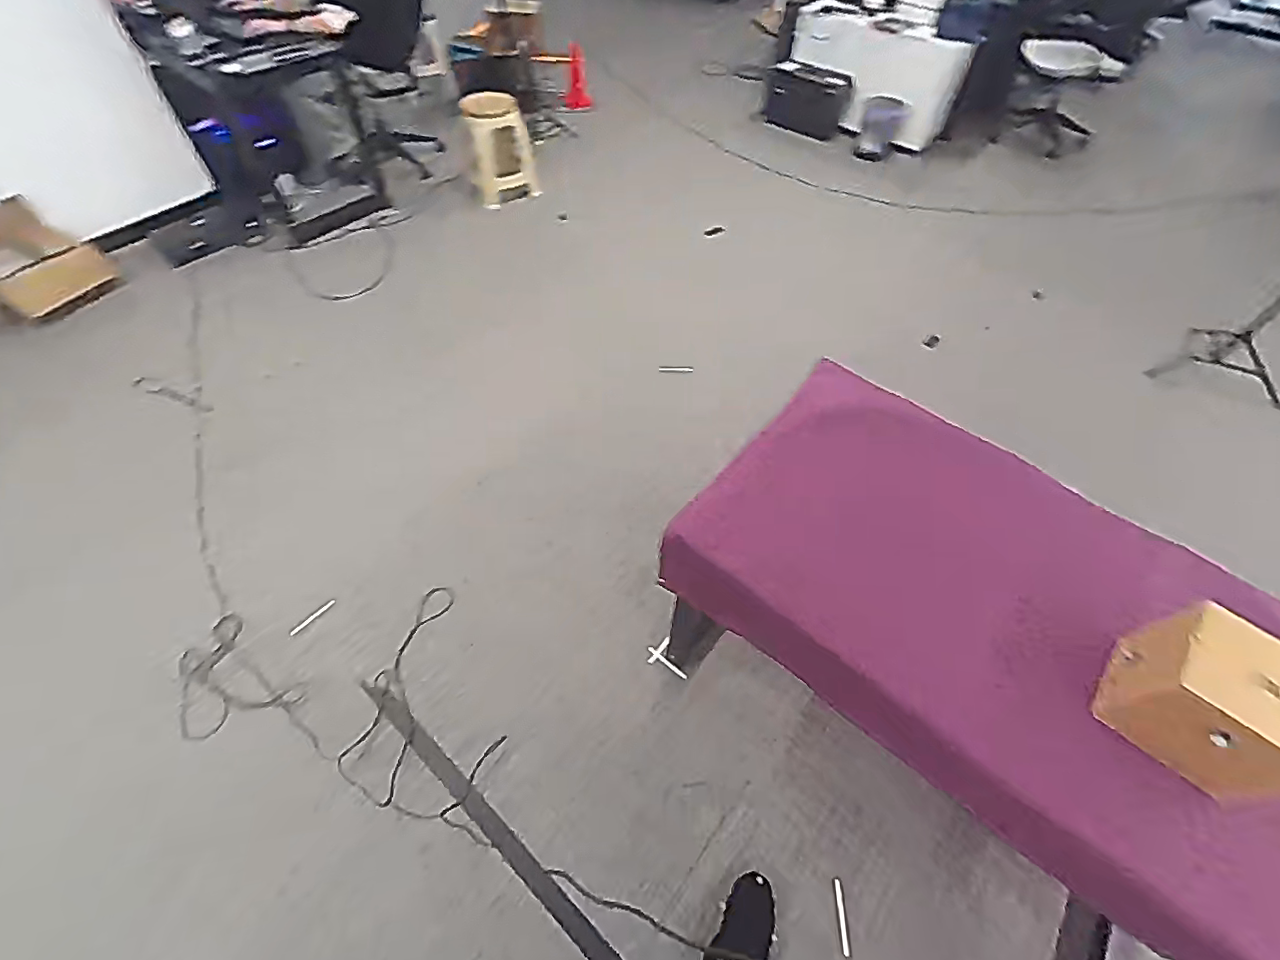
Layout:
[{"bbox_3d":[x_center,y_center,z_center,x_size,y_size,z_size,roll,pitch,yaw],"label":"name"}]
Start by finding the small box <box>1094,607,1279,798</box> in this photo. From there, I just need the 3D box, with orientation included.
[{"bbox_3d":[0.813,0.320,0.766,0.179,0.176,0.168,37,61,24],"label":"small box"}]
